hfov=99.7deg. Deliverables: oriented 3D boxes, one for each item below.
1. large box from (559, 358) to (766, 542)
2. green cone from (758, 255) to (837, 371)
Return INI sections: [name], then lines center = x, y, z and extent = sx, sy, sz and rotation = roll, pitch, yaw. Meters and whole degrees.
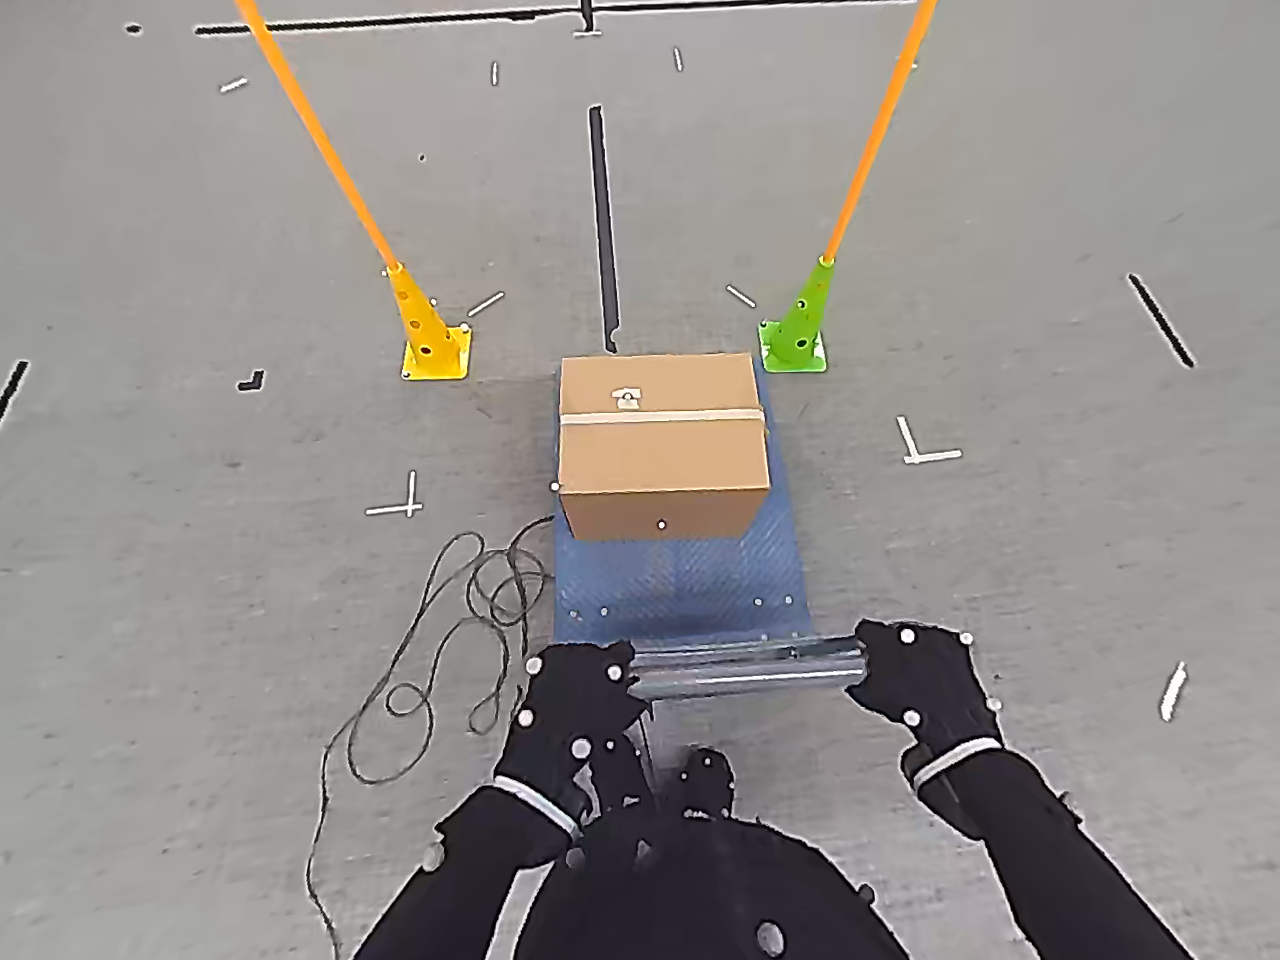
[large box]
center = 0.041, -0.053, 1.225
extent = 0.408, 0.320, 0.320
rotation = -2, 66, 0
[green cone]
center = 0.493, -0.506, 1.592
extent = 0.202, 0.368, 0.200
rotation = -1, 66, -2
